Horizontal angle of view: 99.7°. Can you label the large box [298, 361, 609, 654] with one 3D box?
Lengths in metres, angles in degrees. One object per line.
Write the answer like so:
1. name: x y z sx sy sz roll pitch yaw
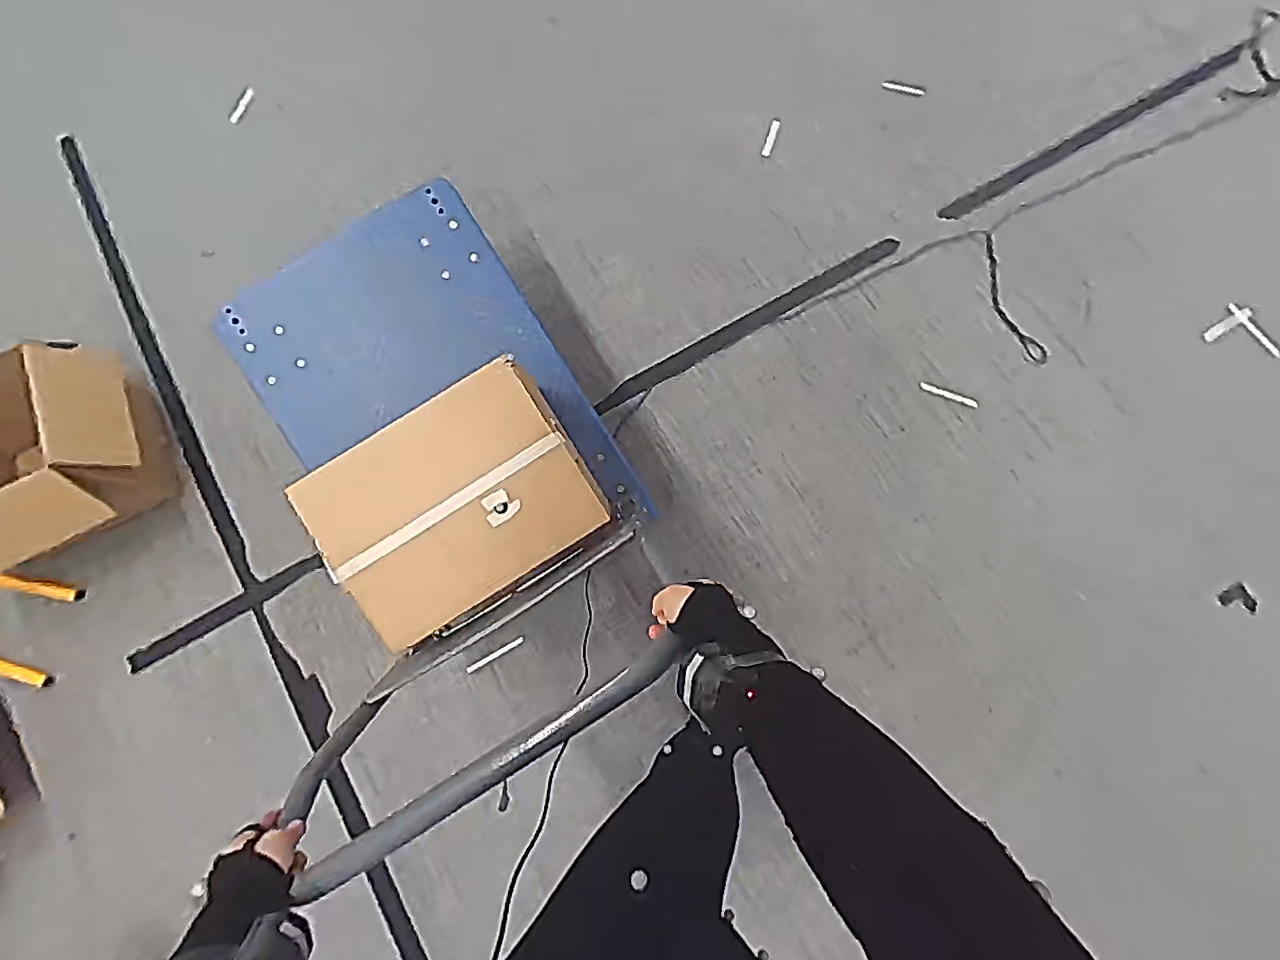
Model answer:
1. large box: -0.304 0.045 1.009 0.408 0.320 0.320 -33 93 -3
